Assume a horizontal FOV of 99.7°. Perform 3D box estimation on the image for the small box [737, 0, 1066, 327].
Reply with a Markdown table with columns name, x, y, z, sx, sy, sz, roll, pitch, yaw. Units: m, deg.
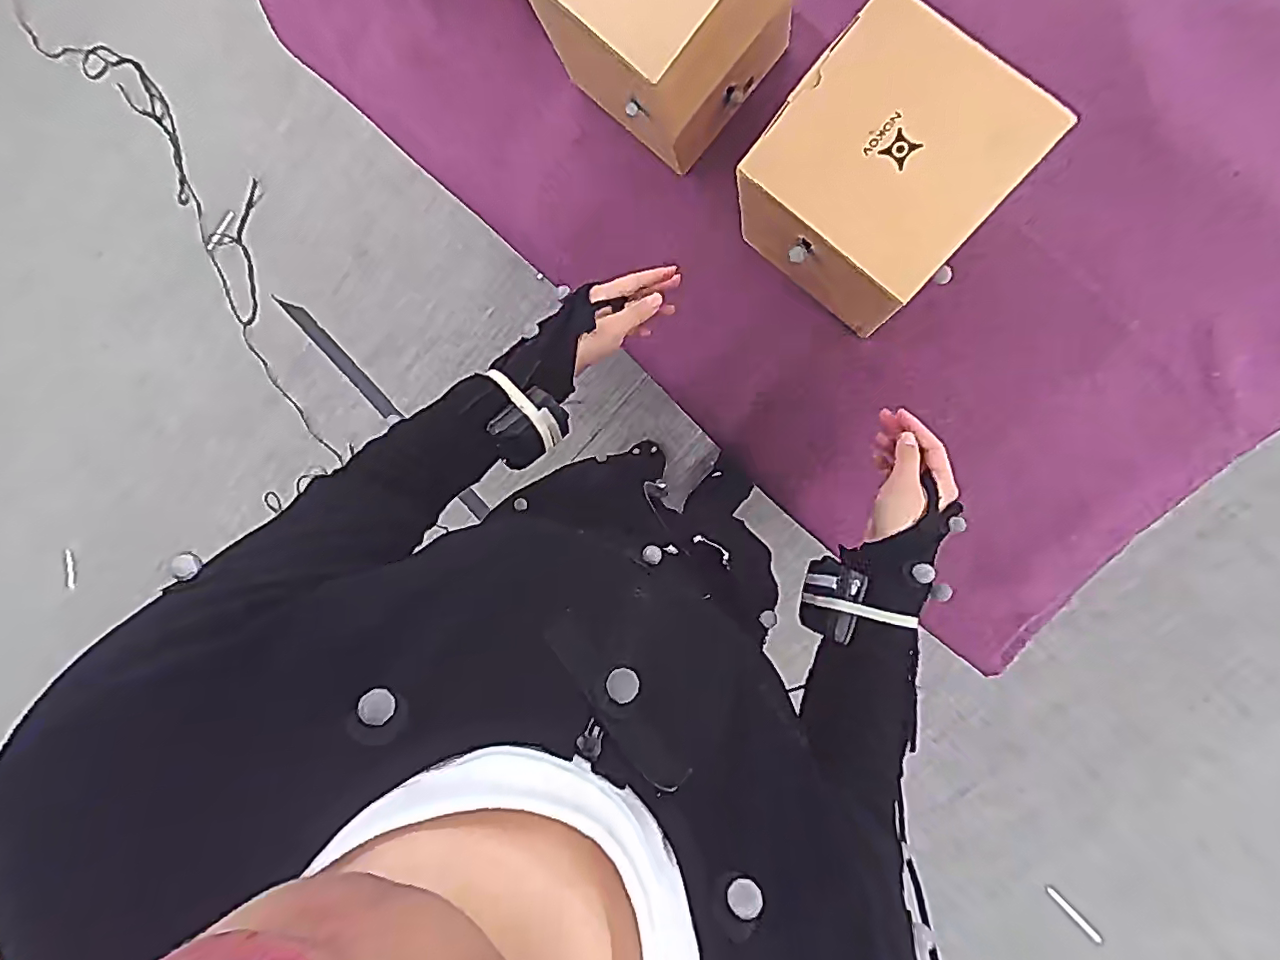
| name | x | y | z | sx | sy | sz | roll | pitch | yaw |
| --- | --- | --- | --- | --- | --- | --- | --- | --- | --- |
| small box | 0.211 | -0.259 | 0.490 | 0.179 | 0.176 | 0.168 | 43 | 102 | 7 |
